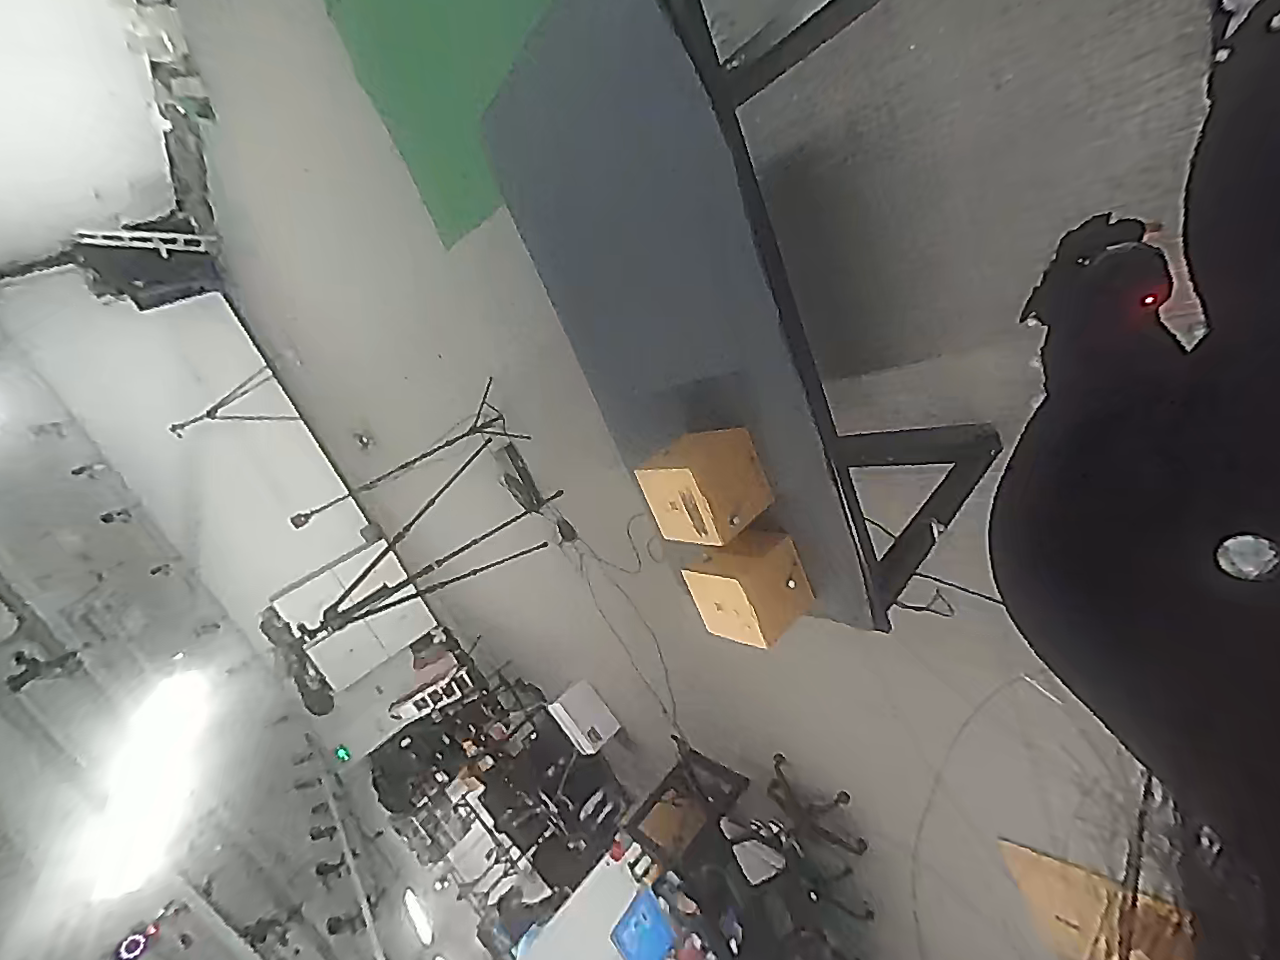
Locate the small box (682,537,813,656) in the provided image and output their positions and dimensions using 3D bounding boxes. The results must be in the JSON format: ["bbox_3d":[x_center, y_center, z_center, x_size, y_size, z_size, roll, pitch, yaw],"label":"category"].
[{"bbox_3d":[0.226,0.232,1.130,0.179,0.176,0.168,-3,115,54],"label":"small box"}]
